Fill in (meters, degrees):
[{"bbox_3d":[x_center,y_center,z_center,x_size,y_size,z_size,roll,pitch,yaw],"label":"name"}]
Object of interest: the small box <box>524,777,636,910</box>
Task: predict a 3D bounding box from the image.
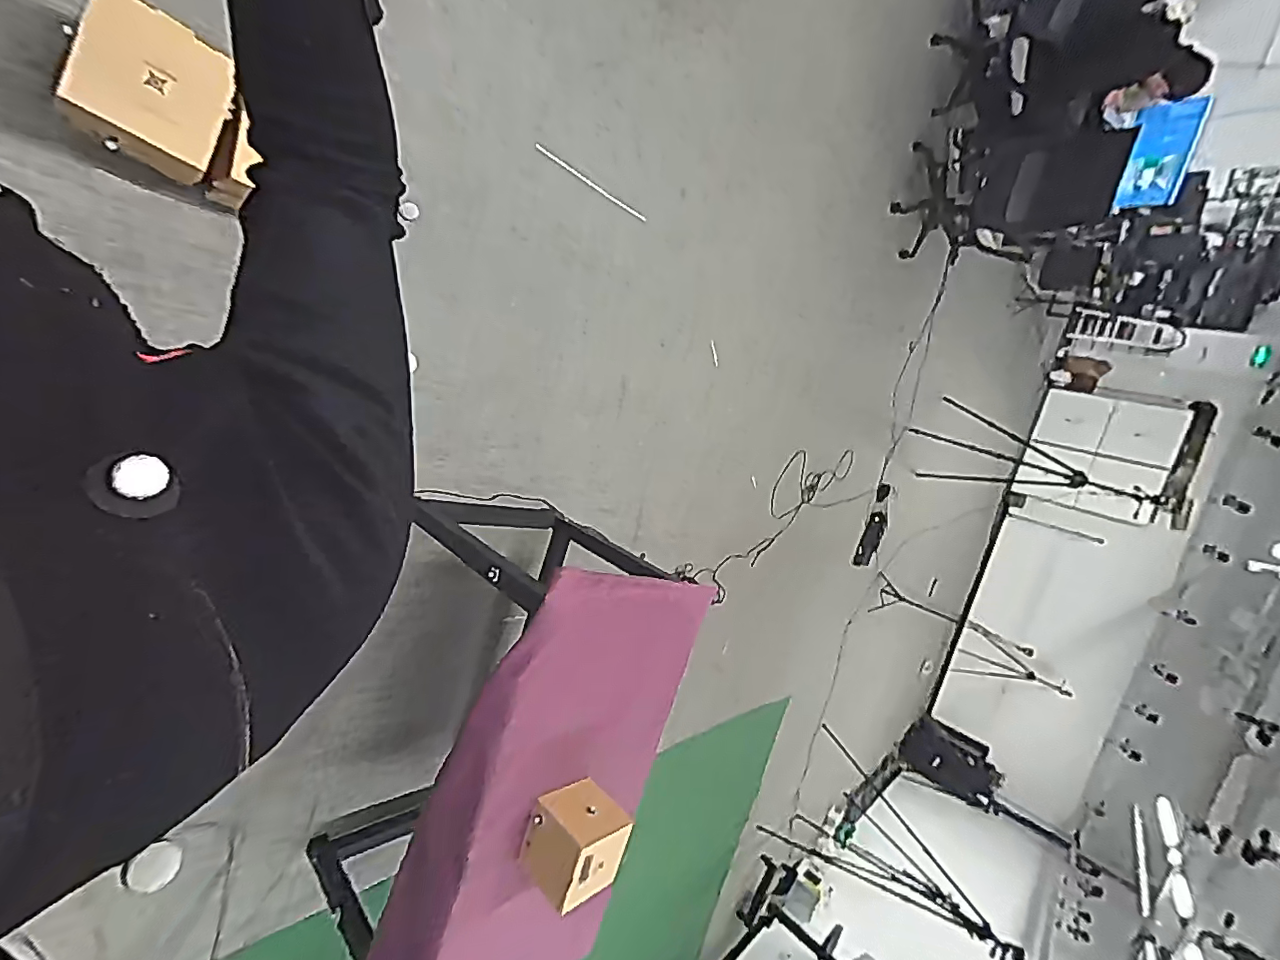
[{"bbox_3d":[-0.145,0.841,1.272,0.179,0.176,0.168,12,98,-50],"label":"small box"}]
